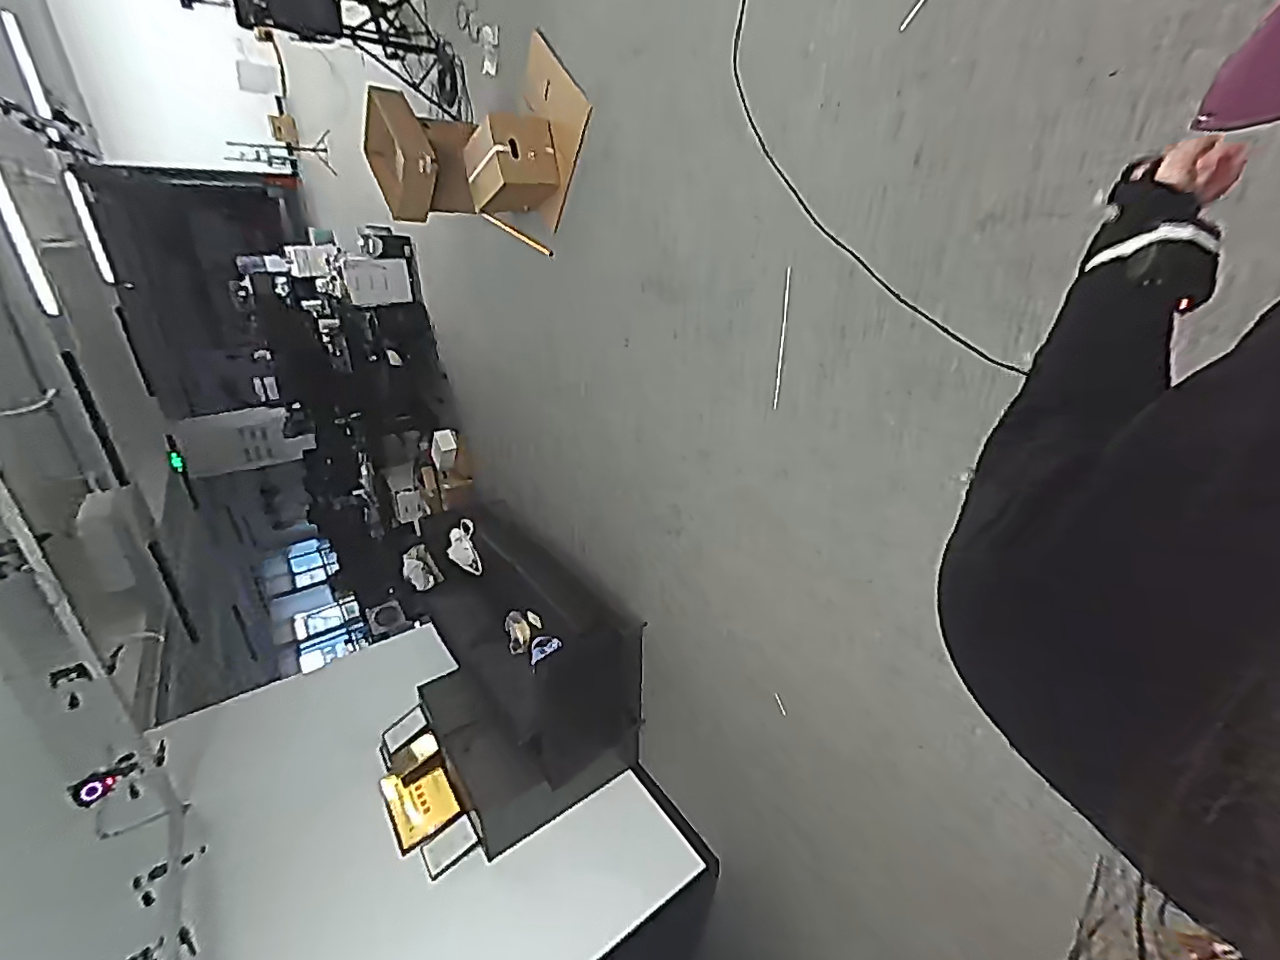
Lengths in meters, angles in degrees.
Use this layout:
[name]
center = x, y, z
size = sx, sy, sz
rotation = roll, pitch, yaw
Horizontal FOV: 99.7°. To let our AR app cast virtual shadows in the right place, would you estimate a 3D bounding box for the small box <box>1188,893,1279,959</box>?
[small box]
center = 1.348, 1.056, 1.164
size = 0.179, 0.176, 0.168
rotation = 35, 132, 45
